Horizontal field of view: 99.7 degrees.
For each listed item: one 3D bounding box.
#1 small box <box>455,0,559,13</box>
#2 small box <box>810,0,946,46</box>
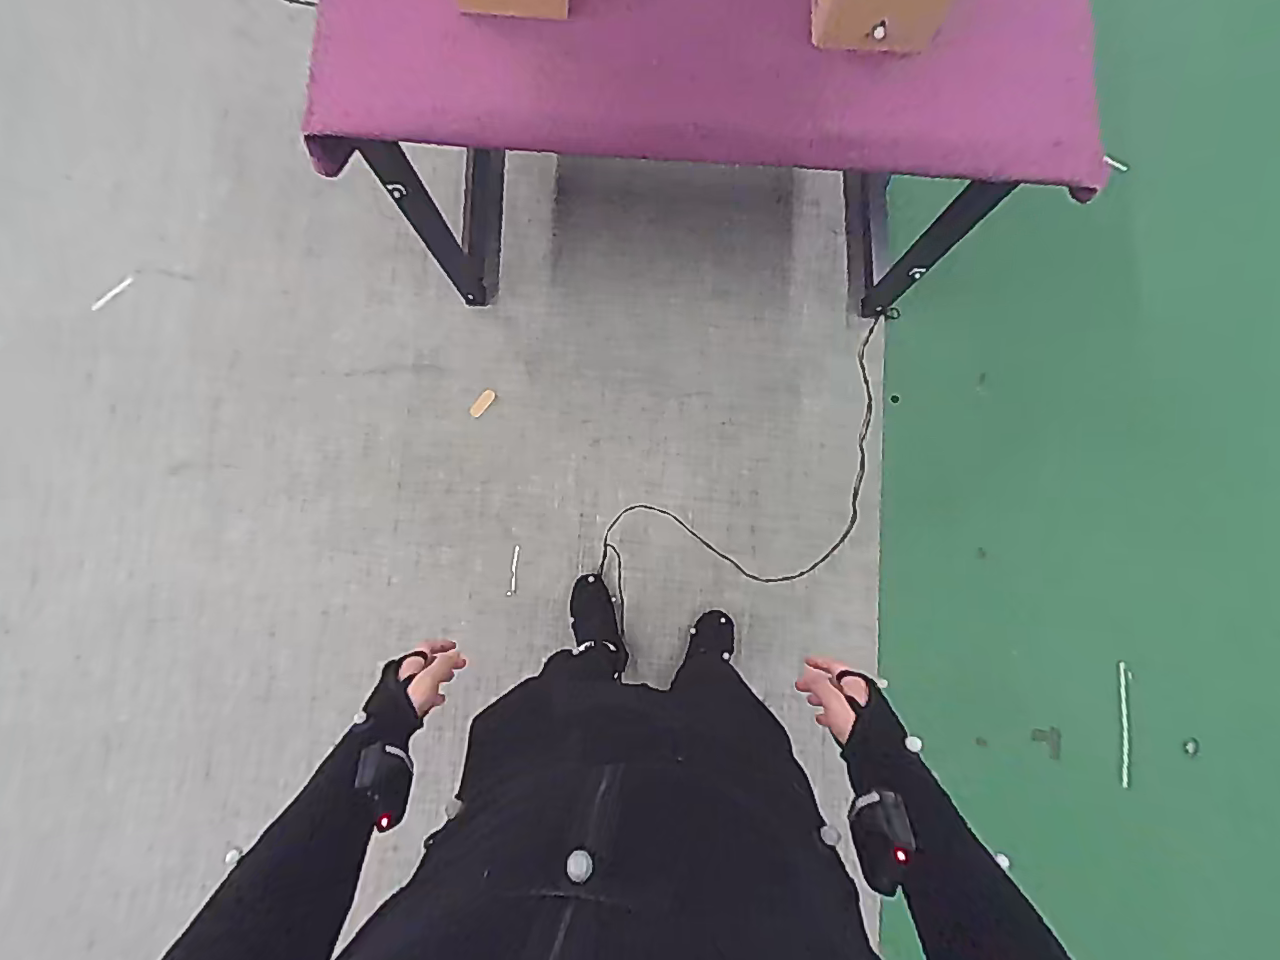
[{"bbox_3d":[-0.196,-0.816,0.769,0.179,0.176,0.168,3,84,0],"label":"small box"},{"bbox_3d":[0.357,-0.762,0.768,0.179,0.176,0.168,1,83,0],"label":"small box"}]
